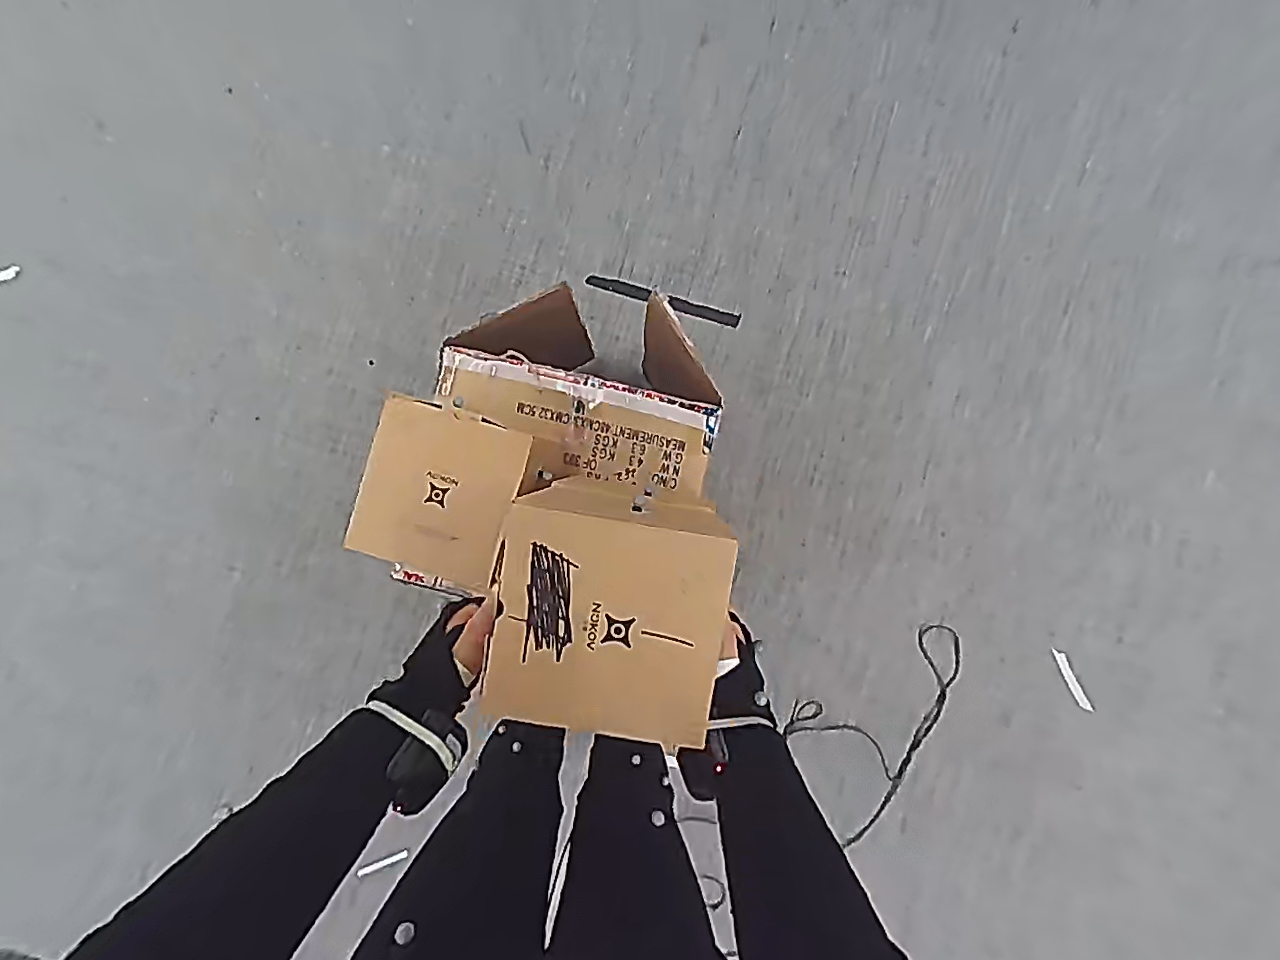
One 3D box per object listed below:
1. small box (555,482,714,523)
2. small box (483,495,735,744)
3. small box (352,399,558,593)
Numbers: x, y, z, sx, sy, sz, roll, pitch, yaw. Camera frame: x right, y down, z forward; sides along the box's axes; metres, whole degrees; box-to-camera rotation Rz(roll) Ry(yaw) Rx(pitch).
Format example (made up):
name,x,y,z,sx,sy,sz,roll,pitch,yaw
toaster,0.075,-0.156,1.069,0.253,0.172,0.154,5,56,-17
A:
name,x,y,z,sx,sy,sz,roll,pitch,yaw
small box,-0.019,0.096,0.662,0.179,0.176,0.168,9,93,-1
small box,-0.024,0.108,0.497,0.179,0.176,0.168,9,93,0
small box,-0.209,0.015,0.662,0.168,0.176,0.179,17,93,2
